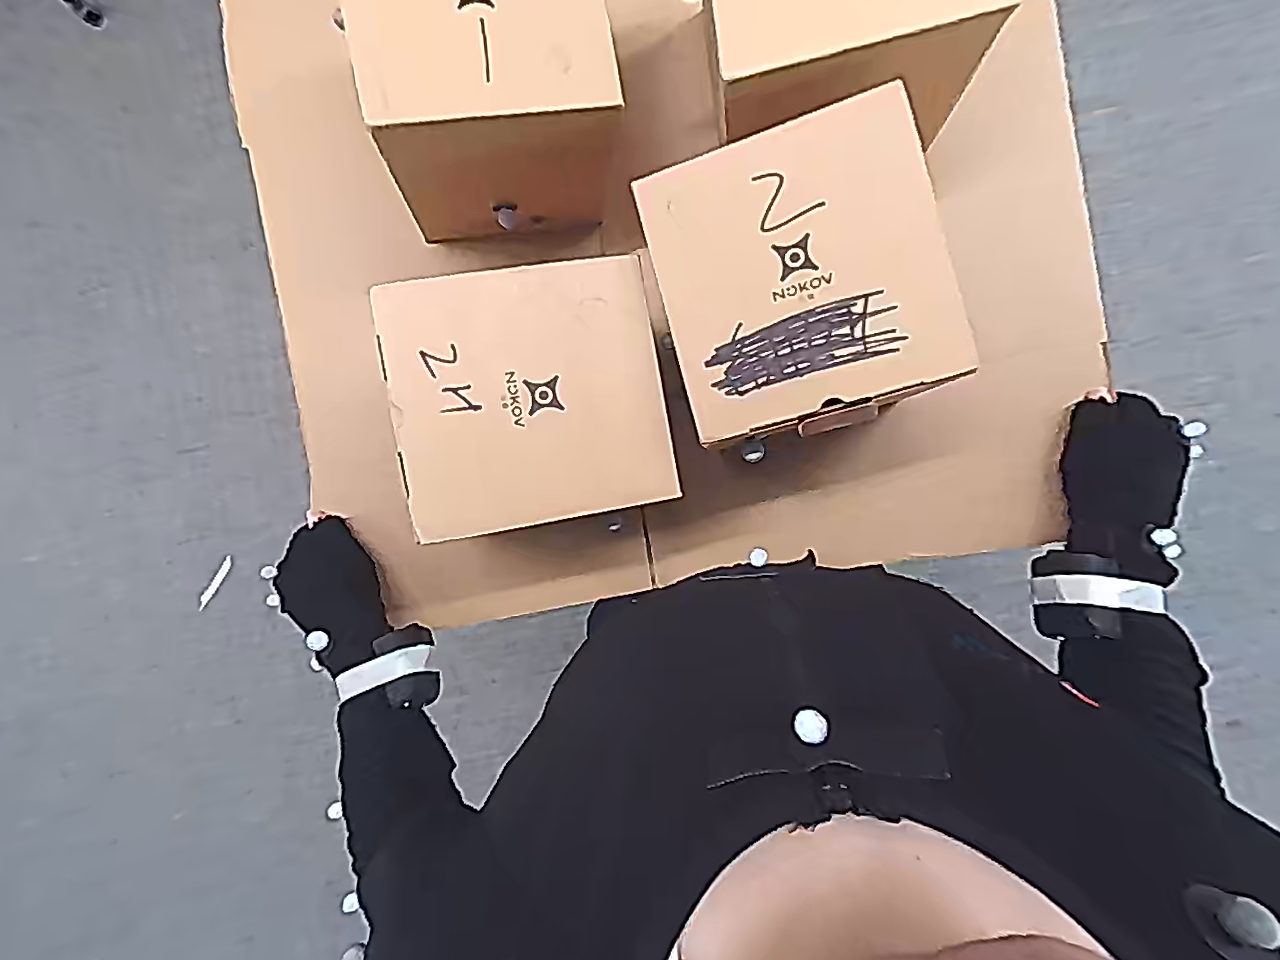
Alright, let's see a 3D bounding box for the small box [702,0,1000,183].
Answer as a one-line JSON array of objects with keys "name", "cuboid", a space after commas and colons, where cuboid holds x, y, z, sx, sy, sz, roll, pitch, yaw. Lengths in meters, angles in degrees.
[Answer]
[{"name": "small box", "cuboid": [0.130, -0.344, 0.392, 0.168, 0.176, 0.179, -7, 90, 11]}]
